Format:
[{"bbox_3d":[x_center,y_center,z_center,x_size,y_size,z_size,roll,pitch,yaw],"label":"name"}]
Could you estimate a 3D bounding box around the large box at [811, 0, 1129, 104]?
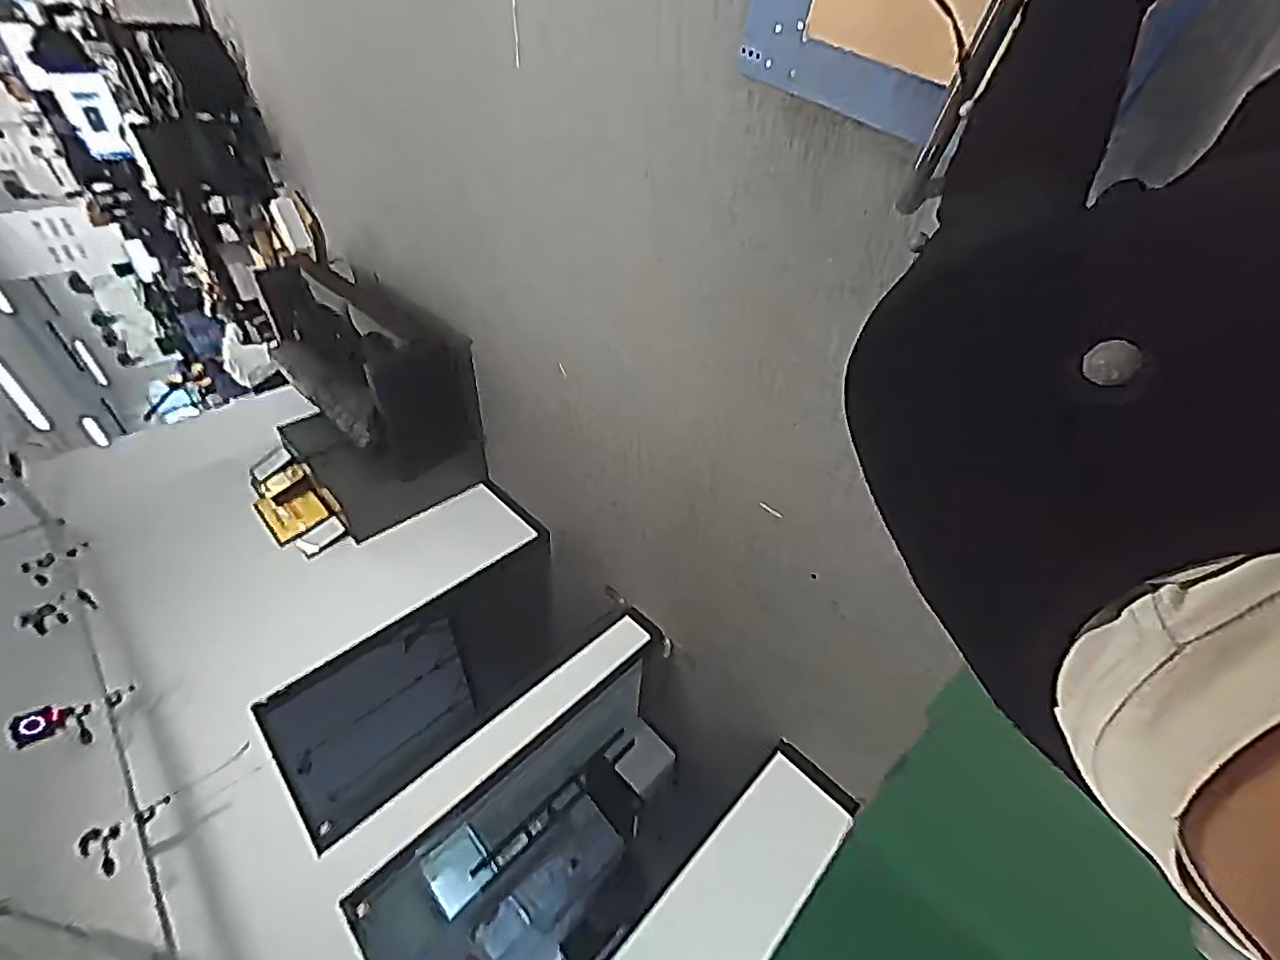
[{"bbox_3d":[0.583,-0.868,0.899,0.408,0.320,0.320,43,142,25],"label":"large box"}]
